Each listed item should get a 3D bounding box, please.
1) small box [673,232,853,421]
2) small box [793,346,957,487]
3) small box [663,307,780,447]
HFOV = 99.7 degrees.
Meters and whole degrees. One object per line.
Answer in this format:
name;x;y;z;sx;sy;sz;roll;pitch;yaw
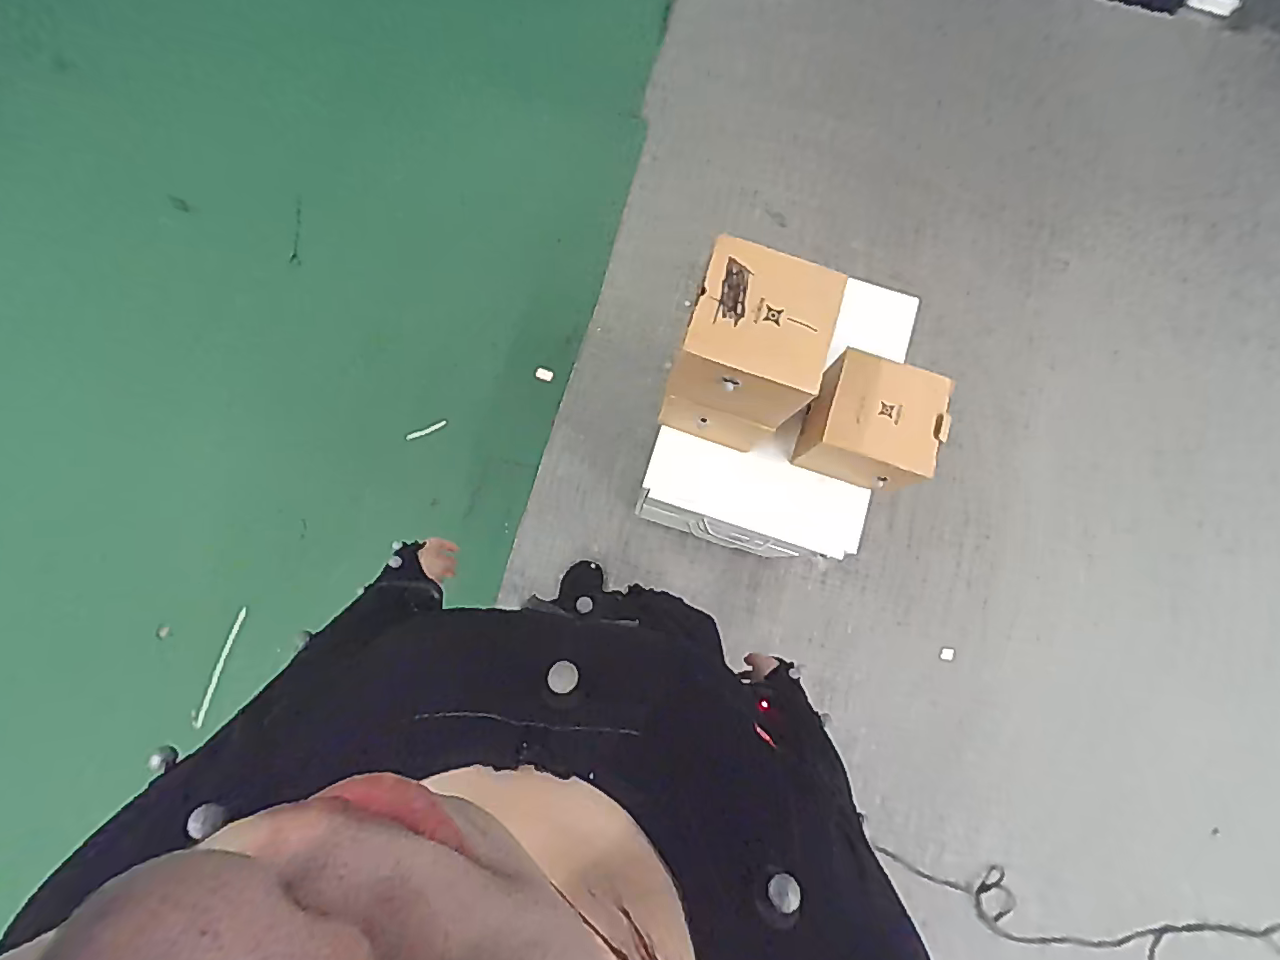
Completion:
small box;0.154;-0.194;0.736;0.179;0.176;0.168;19;81;-2
small box;0.380;-0.094;0.900;0.179;0.176;0.168;19;81;3
small box;0.145;-0.167;0.899;0.179;0.176;0.168;19;82;0
